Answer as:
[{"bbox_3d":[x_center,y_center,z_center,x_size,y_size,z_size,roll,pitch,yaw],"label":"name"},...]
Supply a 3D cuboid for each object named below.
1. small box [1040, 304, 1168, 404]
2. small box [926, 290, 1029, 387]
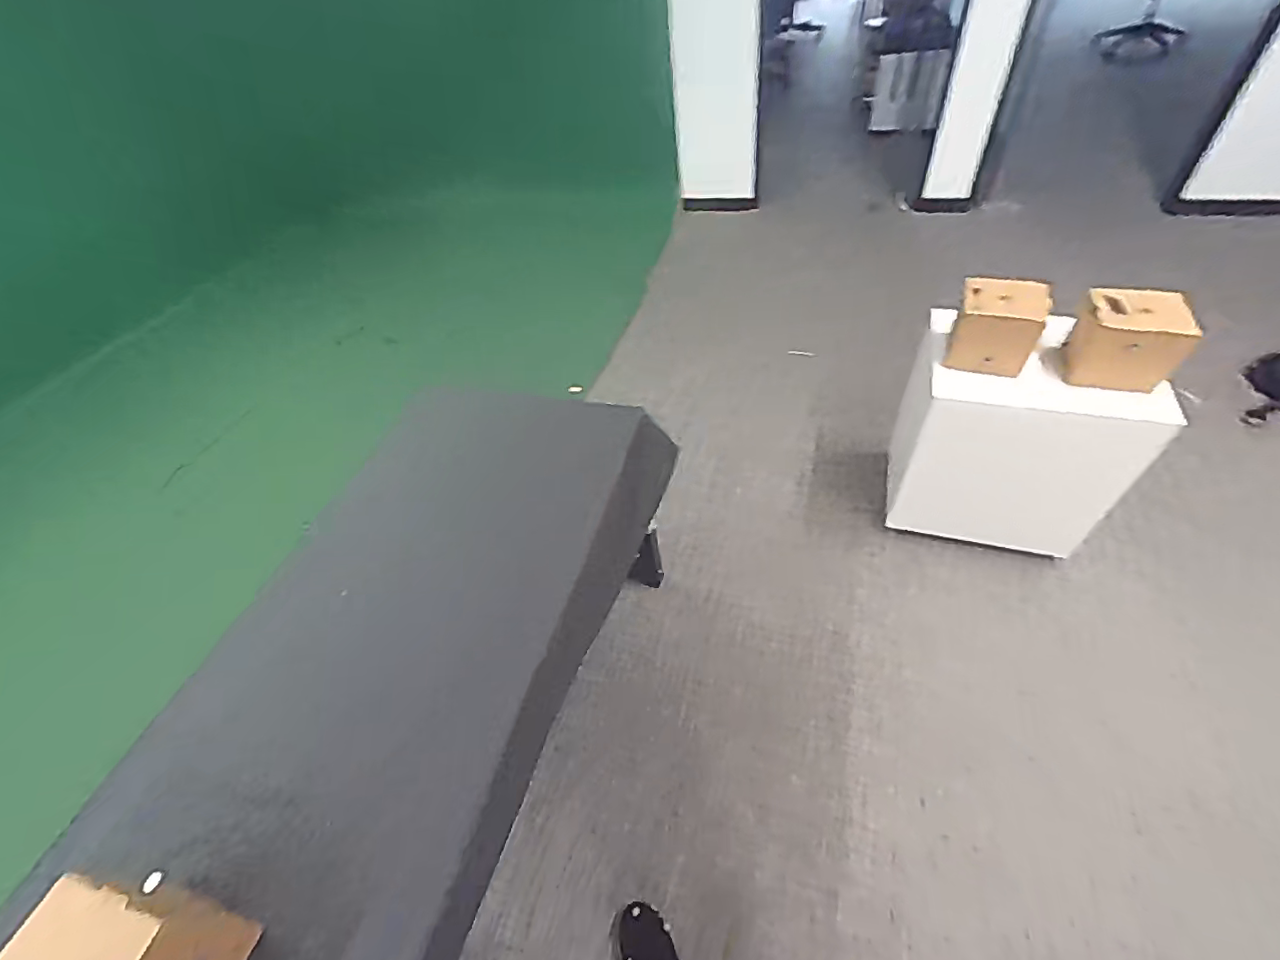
[{"bbox_3d":[1.111,-0.305,1.317,0.179,0.176,0.168,11,50,15],"label":"small box"},{"bbox_3d":[0.863,-0.360,1.393,0.179,0.176,0.168,15,51,17],"label":"small box"}]
